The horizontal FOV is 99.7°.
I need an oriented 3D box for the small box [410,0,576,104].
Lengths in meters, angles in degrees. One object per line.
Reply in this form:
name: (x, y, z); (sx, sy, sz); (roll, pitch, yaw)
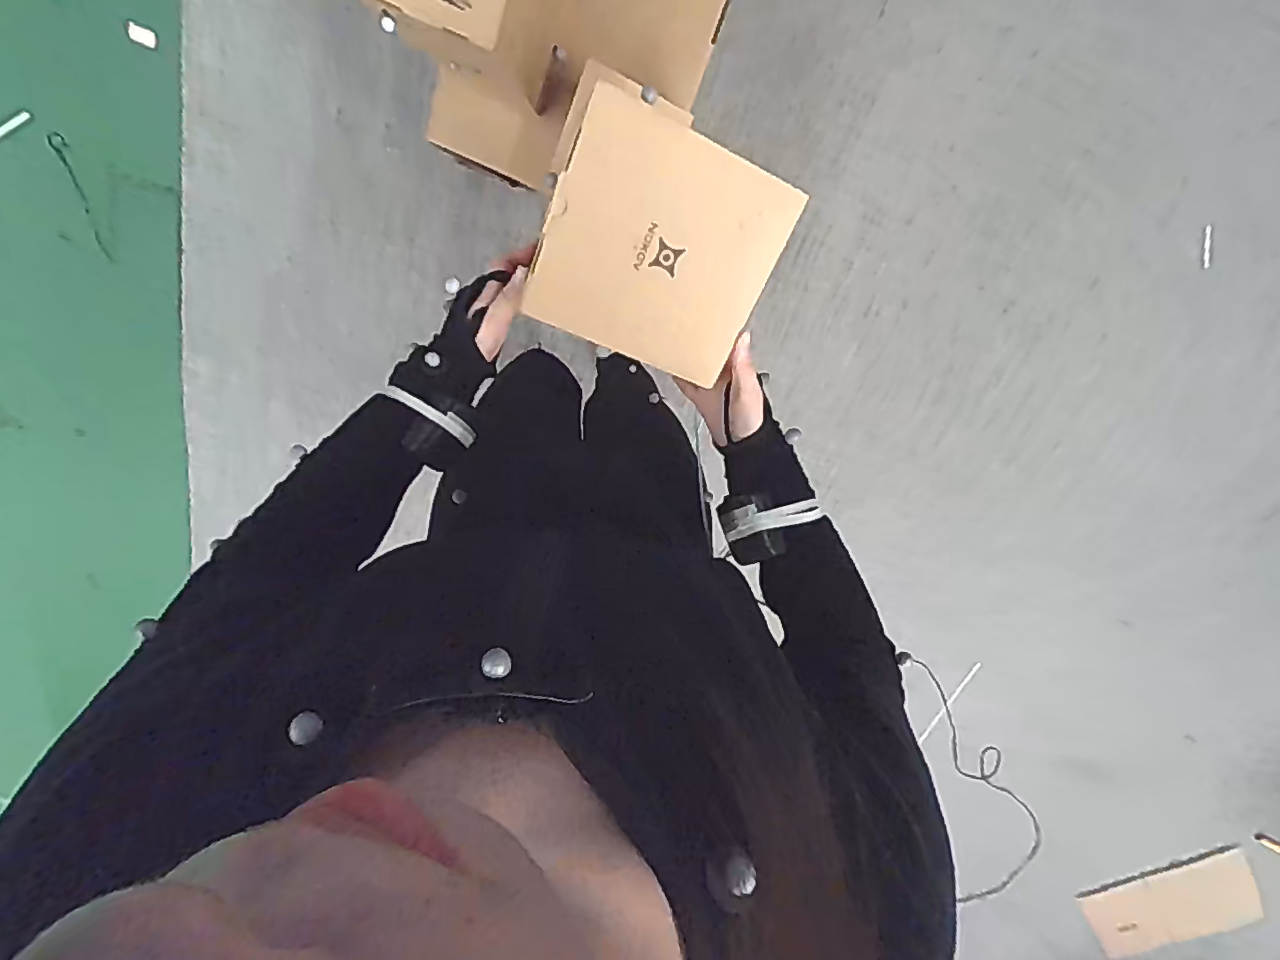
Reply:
small box: (-0.196, -0.683, 0.769); (0.168, 0.176, 0.179); (23, 111, -10)

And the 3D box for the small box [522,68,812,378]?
small box: (0.010, -0.218, 0.478); (0.179, 0.176, 0.168); (19, 115, -17)

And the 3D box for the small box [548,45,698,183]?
small box: (-0.028, -0.519, 0.848); (0.168, 0.176, 0.179); (22, 111, -13)
